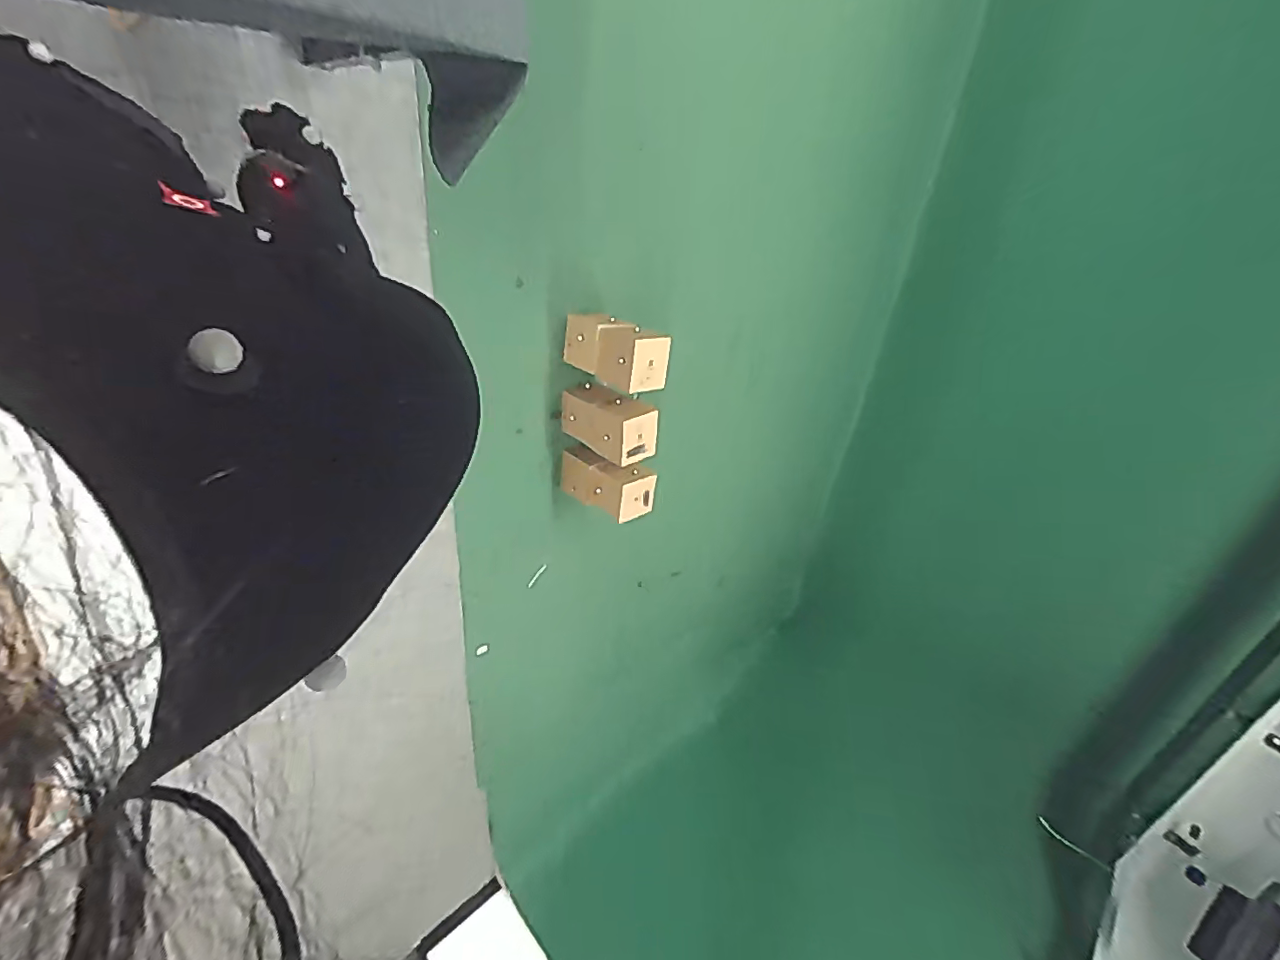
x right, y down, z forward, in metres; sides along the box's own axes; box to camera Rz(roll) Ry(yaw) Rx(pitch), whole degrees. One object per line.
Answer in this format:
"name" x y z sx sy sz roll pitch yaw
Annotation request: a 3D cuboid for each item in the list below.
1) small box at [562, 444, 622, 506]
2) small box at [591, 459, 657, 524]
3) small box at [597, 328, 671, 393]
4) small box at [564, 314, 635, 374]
"small box" -0.194 -0.024 2.126 0.168 0.176 0.179 -18 126 -42
"small box" -0.063 0.036 2.044 0.179 0.176 0.168 -20 128 -41
"small box" -0.024 -0.402 1.788 0.168 0.176 0.179 -17 126 -42
"small box" -0.144 -0.474 1.876 0.179 0.176 0.168 -16 125 -43
